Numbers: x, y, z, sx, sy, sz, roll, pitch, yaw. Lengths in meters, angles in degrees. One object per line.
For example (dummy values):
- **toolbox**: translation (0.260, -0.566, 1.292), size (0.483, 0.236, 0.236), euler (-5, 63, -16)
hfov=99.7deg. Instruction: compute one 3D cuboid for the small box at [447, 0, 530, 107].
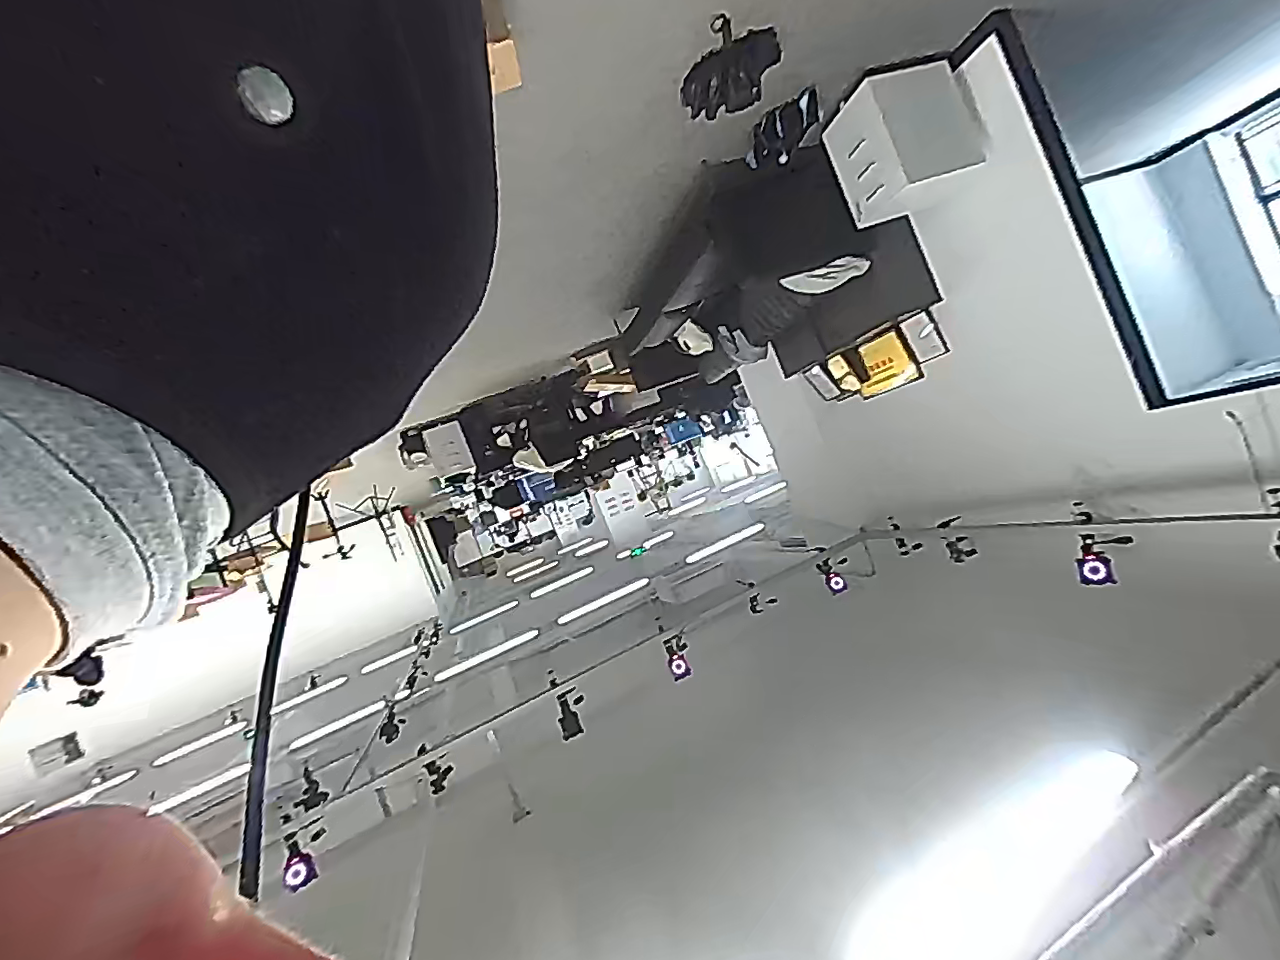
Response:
- **small box**: translation (-0.443, -1.259, 1.590), size (0.168, 0.176, 0.179), euler (-21, -179, -2)
